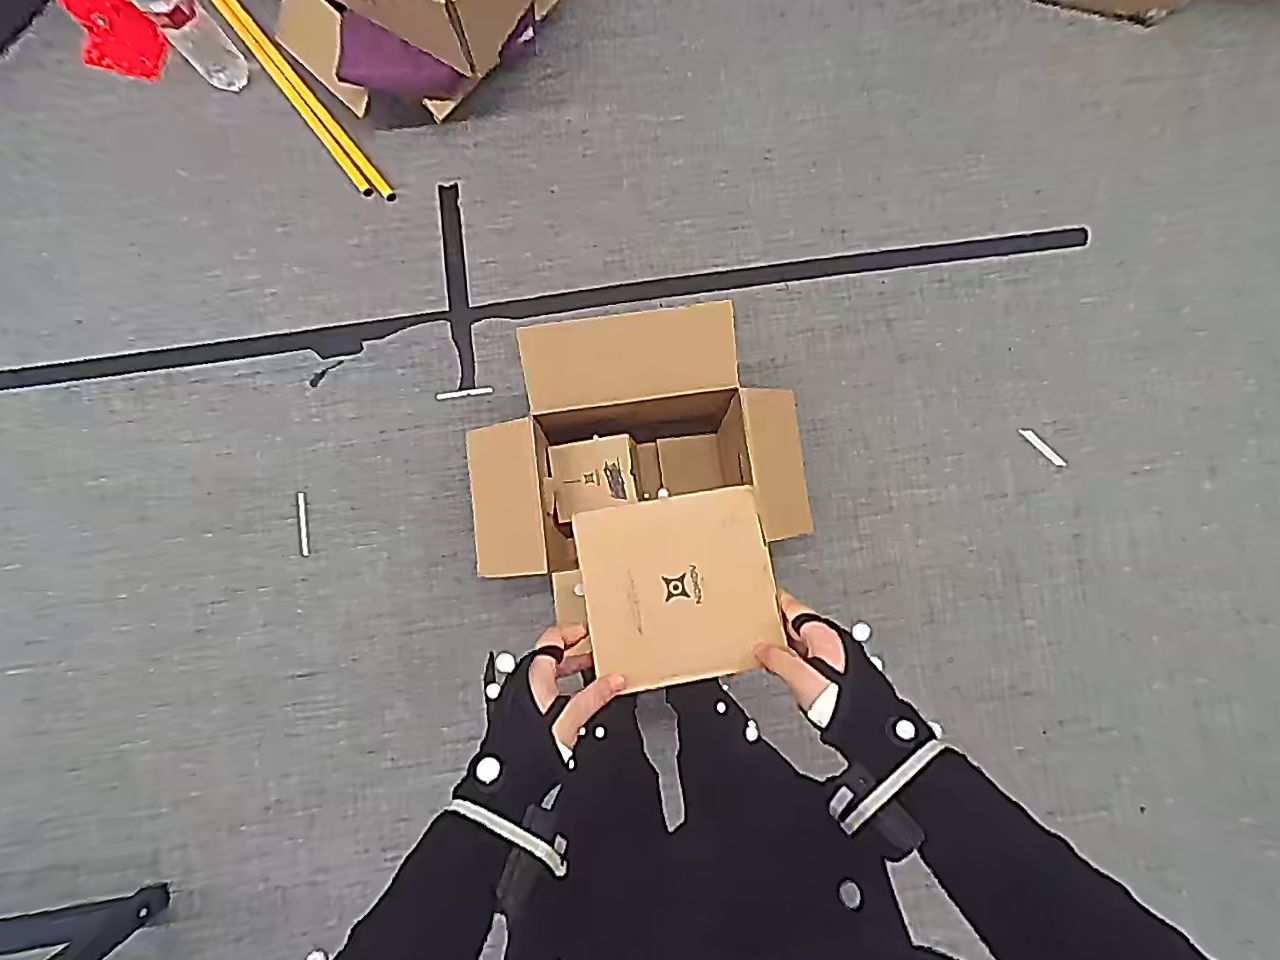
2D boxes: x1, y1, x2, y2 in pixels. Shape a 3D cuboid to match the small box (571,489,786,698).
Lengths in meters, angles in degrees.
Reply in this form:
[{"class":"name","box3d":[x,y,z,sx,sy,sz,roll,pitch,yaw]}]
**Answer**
[{"class":"small box","box3d":[0.030,0.114,0.570,0.179,0.176,0.168,-10,78,-3]}]
